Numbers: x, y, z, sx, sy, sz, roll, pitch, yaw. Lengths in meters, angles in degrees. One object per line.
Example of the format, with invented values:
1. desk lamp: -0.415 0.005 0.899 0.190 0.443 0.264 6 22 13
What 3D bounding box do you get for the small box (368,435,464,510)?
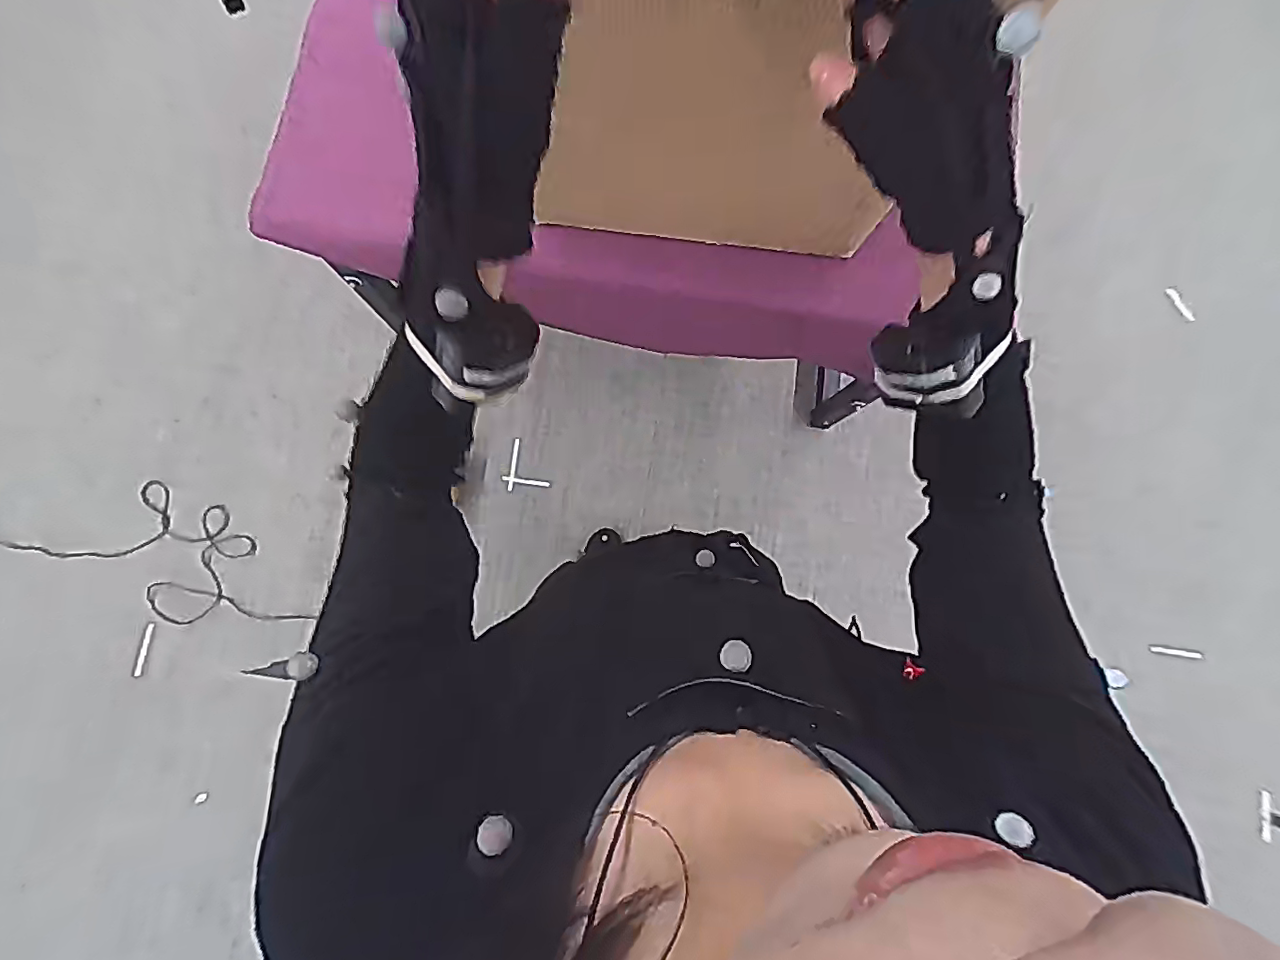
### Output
1. small box: -0.587 -0.014 1.439 0.179 0.176 0.168 7 82 -2
